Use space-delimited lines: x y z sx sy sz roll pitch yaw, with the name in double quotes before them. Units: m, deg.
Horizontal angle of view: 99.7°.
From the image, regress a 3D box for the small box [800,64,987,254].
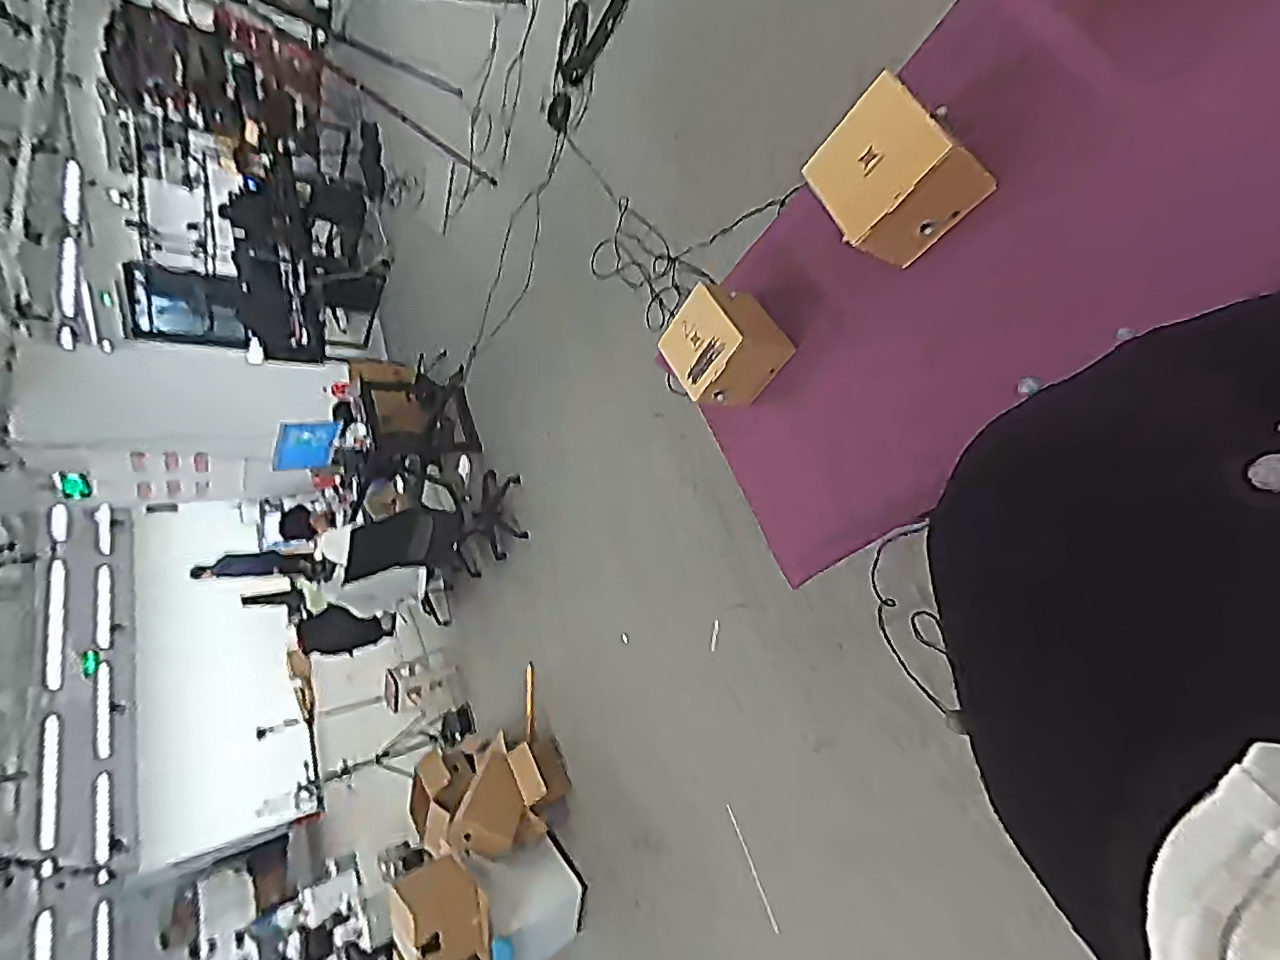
"small box" 0.392 -0.481 0.840 0.168 0.176 0.179 -44 62 42
